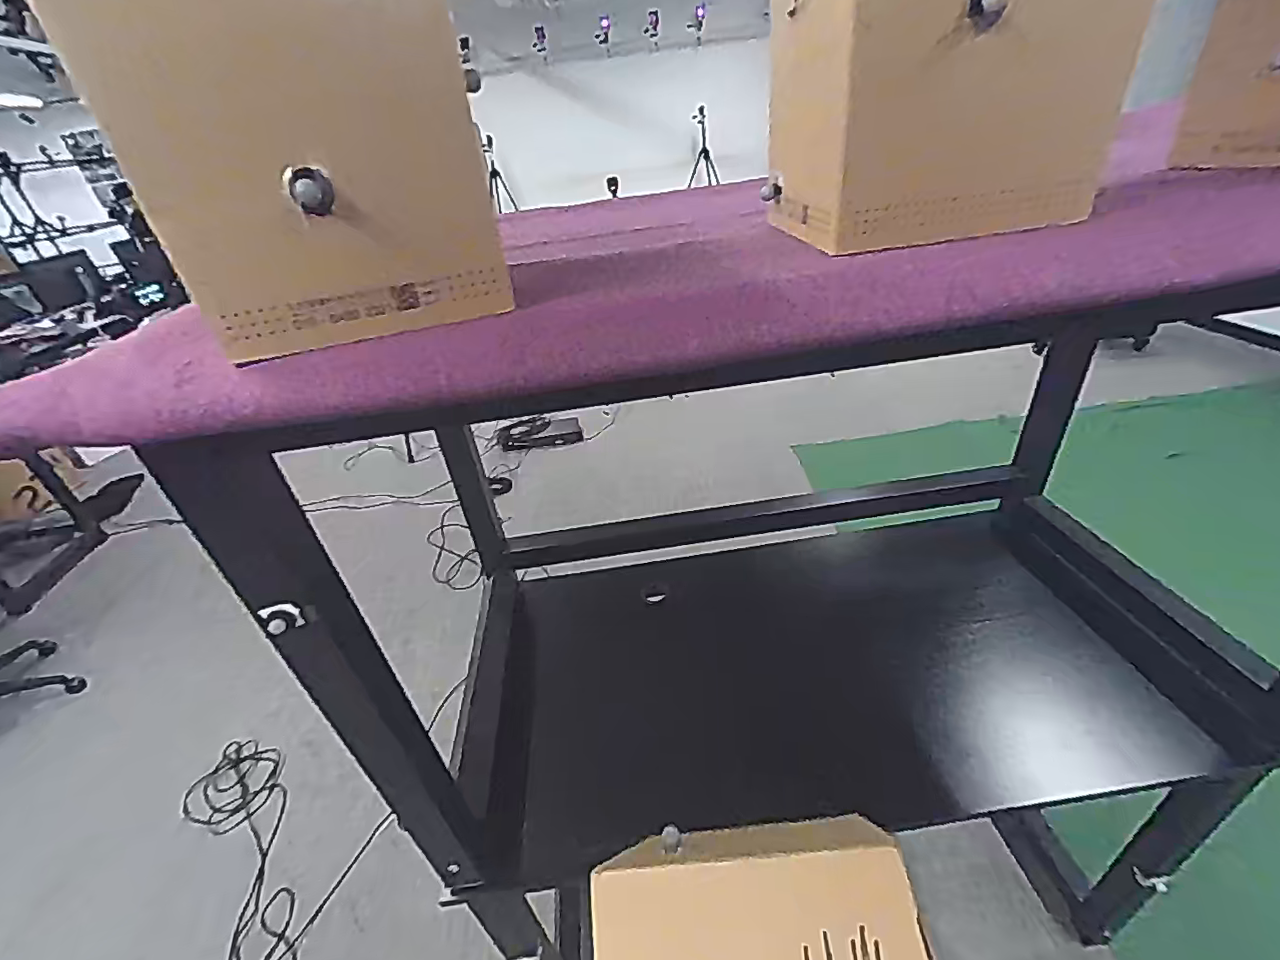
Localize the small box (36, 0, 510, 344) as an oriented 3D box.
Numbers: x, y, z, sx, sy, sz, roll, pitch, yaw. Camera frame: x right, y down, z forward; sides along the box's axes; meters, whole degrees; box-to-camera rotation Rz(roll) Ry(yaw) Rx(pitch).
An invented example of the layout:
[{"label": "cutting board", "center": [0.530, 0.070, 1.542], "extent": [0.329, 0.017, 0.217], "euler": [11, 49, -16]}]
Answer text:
[{"label": "small box", "center": [-0.188, -0.196, 0.346], "extent": [0.168, 0.176, 0.179], "euler": [-14, 34, -12]}]

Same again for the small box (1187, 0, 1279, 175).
[{"label": "small box", "center": [0.575, -0.333, 0.402], "extent": [0.179, 0.176, 0.168], "euler": [-9, 31, 0]}]

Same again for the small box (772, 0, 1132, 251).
[{"label": "small box", "center": [0.201, -0.271, 0.388], "extent": [0.179, 0.176, 0.168], "euler": [-7, 33, -1]}]
